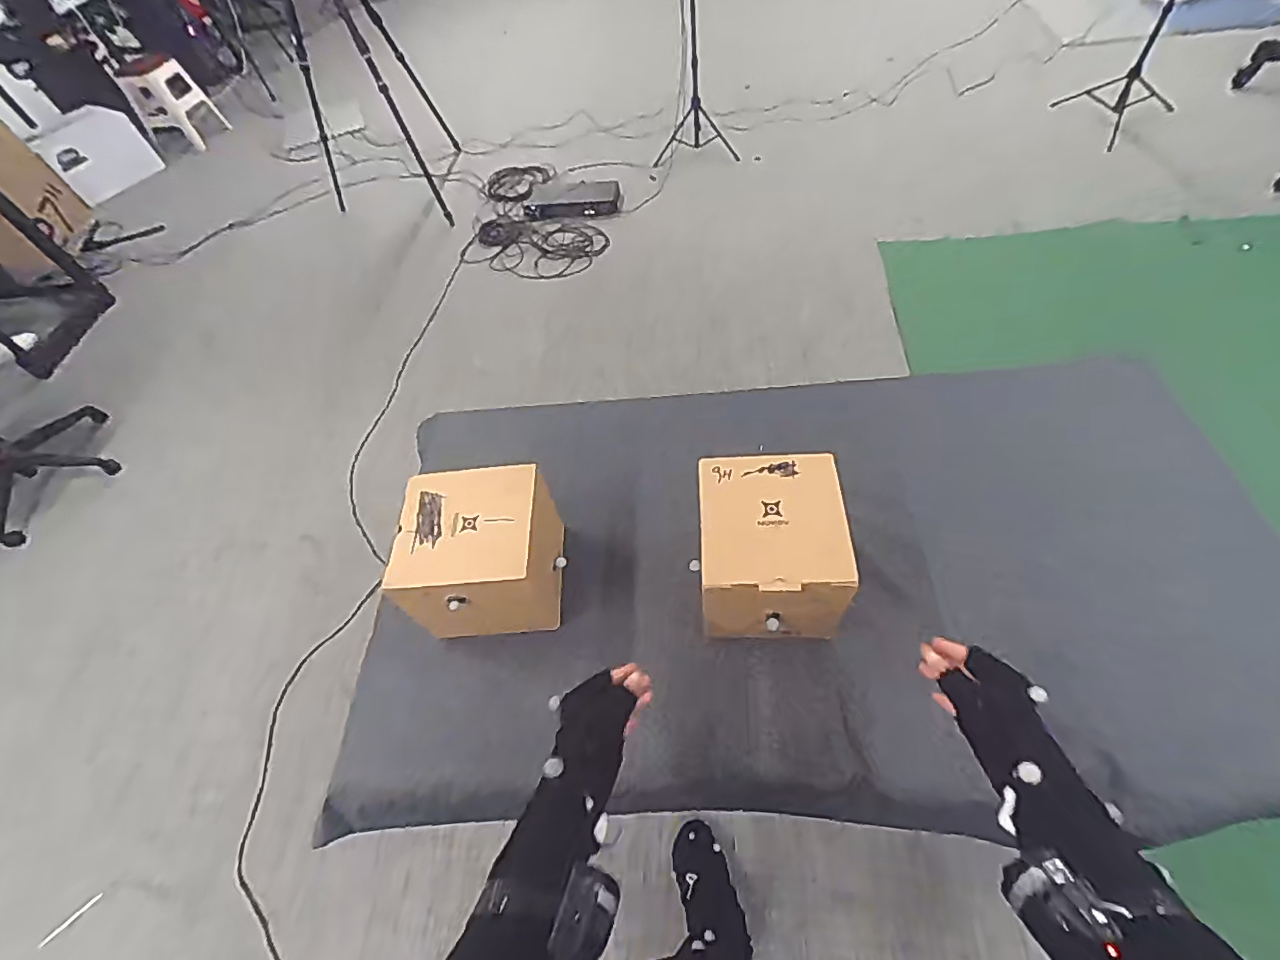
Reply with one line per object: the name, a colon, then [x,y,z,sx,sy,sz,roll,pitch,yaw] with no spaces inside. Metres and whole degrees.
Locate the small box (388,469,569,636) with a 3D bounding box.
small box: [-0.205,0.105,0.738,0.179,0.176,0.168,-5,55,4]

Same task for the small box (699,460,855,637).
small box: [0.163,0.095,0.693,0.168,0.176,0.179,-2,56,7]
